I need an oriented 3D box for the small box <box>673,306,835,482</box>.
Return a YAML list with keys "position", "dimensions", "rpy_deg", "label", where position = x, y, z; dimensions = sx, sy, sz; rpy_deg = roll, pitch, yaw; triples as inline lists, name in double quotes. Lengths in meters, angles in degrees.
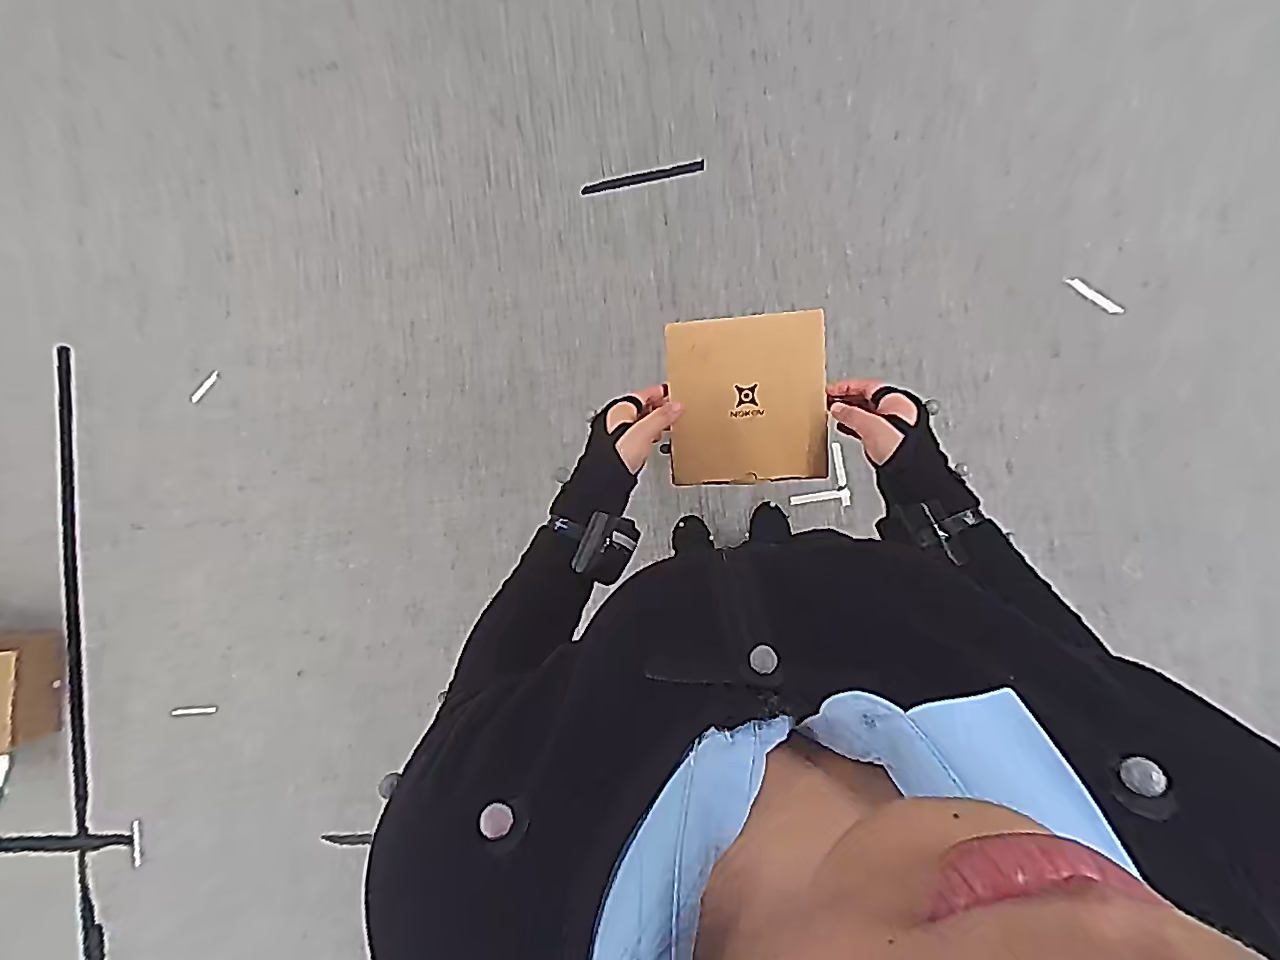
- position: [0.125, -0.096, 0.640]
  dimensions: [0.168, 0.176, 0.179]
  rpy_deg: [-3, 97, 6]
  label: "small box"
